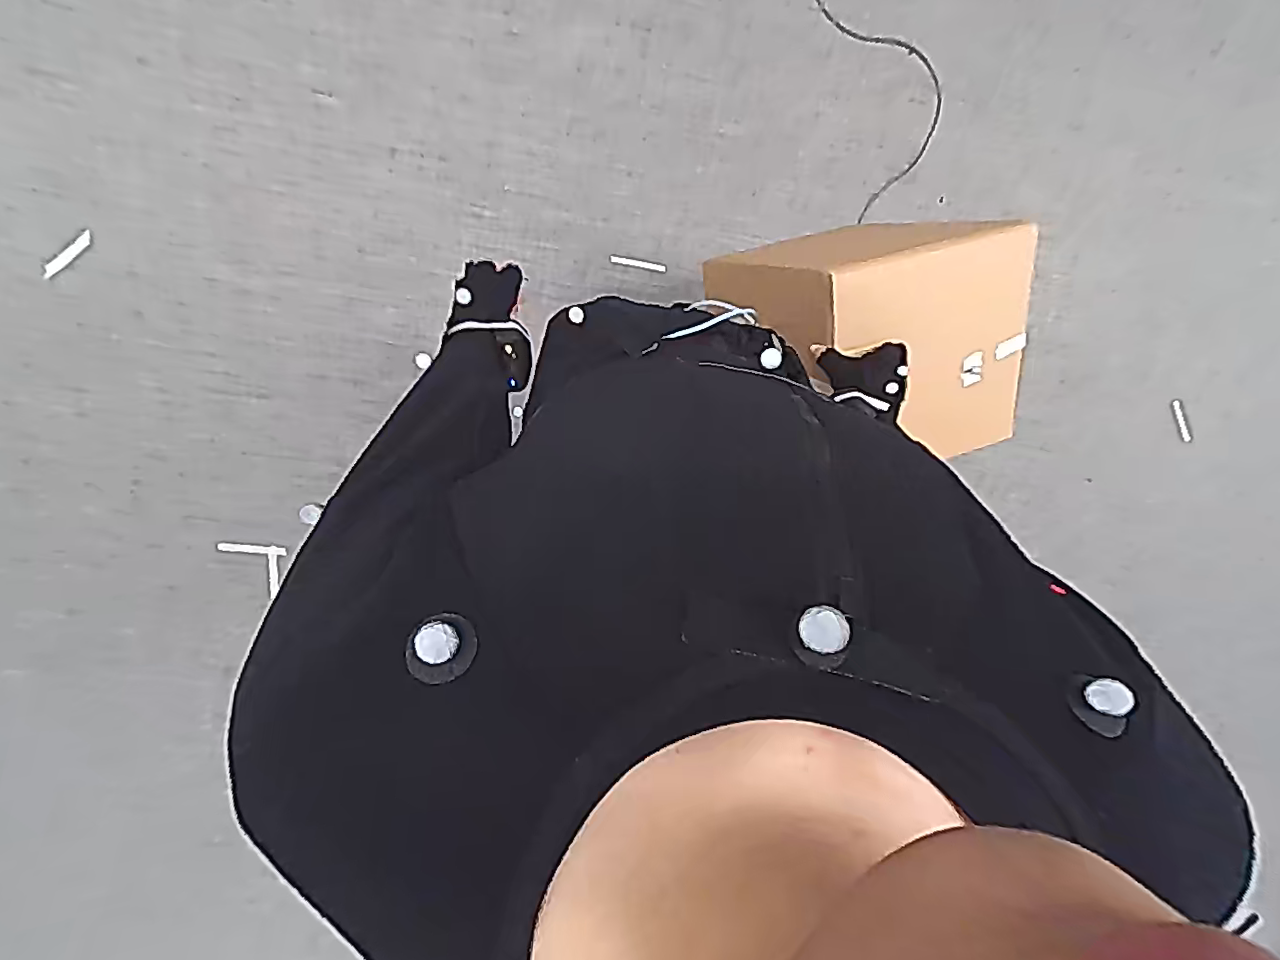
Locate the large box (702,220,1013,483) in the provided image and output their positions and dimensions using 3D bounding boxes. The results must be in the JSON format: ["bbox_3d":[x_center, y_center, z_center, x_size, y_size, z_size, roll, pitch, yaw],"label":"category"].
[{"bbox_3d":[0.342,-0.242,0.932,0.320,0.408,0.320,-17,116,-10],"label":"large box"}]
